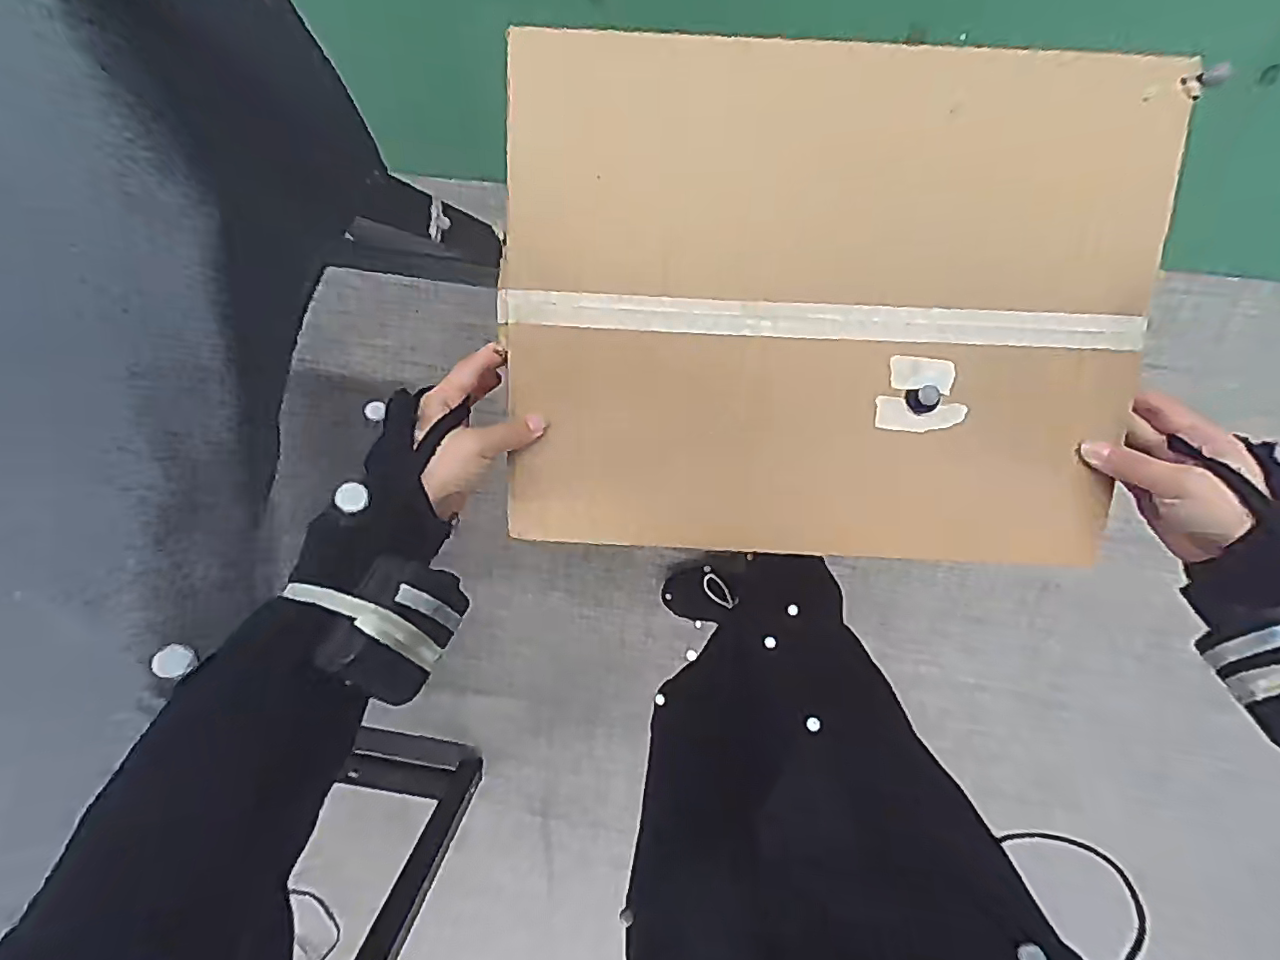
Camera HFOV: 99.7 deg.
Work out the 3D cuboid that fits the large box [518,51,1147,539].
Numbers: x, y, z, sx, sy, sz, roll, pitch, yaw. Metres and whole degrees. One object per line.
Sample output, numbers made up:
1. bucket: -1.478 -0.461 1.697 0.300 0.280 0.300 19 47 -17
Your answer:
1. large box: 0.117 -0.137 0.510 0.408 0.320 0.320 2 101 0
